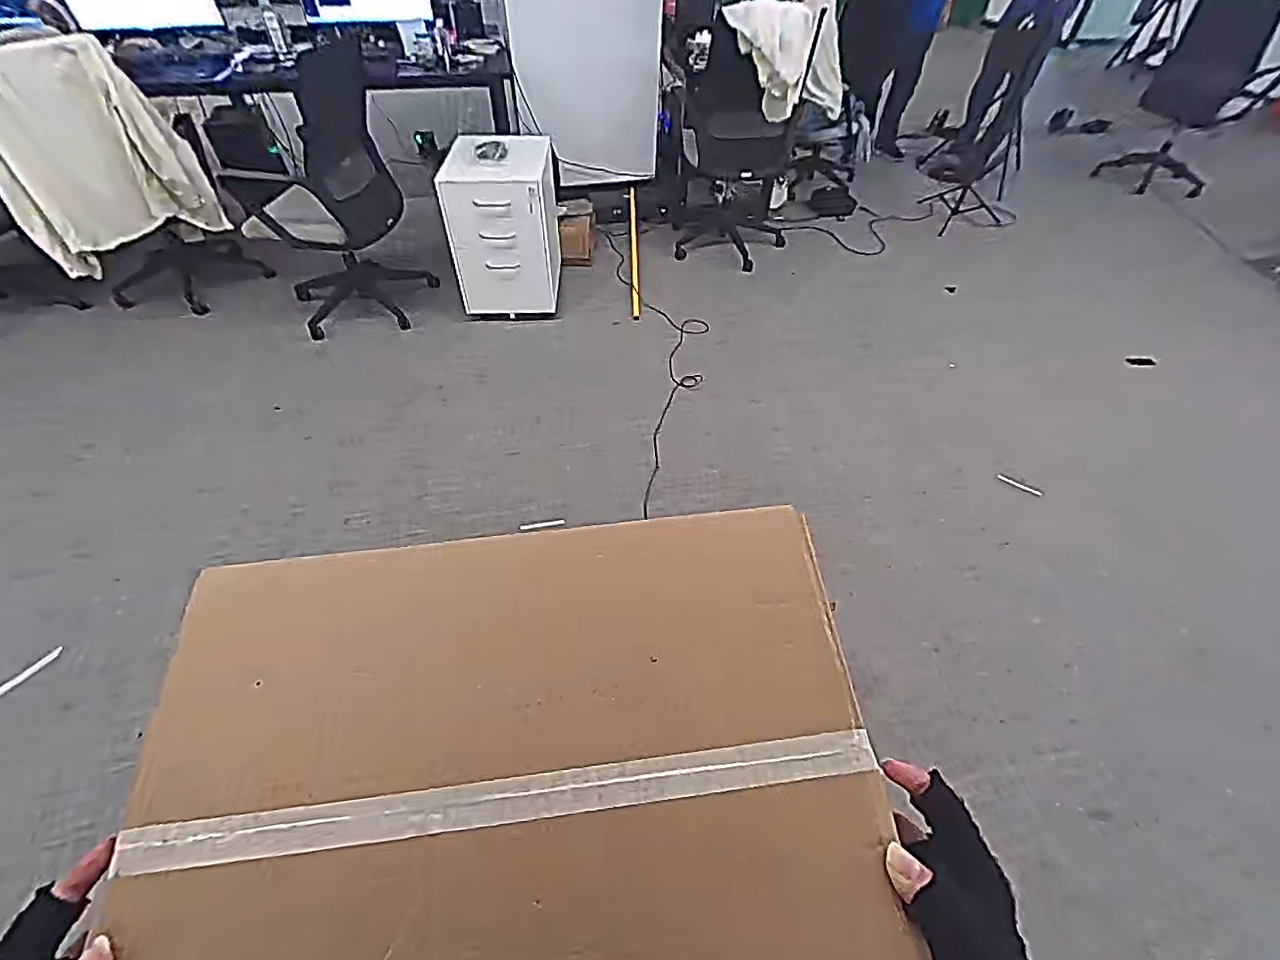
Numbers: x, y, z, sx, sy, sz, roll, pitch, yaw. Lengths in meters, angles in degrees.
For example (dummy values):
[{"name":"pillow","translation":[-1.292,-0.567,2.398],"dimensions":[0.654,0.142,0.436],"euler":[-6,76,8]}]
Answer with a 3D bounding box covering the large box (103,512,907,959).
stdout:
[{"name":"large box","translation":[-0.073,0.249,0.436],"dimensions":[0.408,0.320,0.320],"euler":[-6,60,-3]}]
